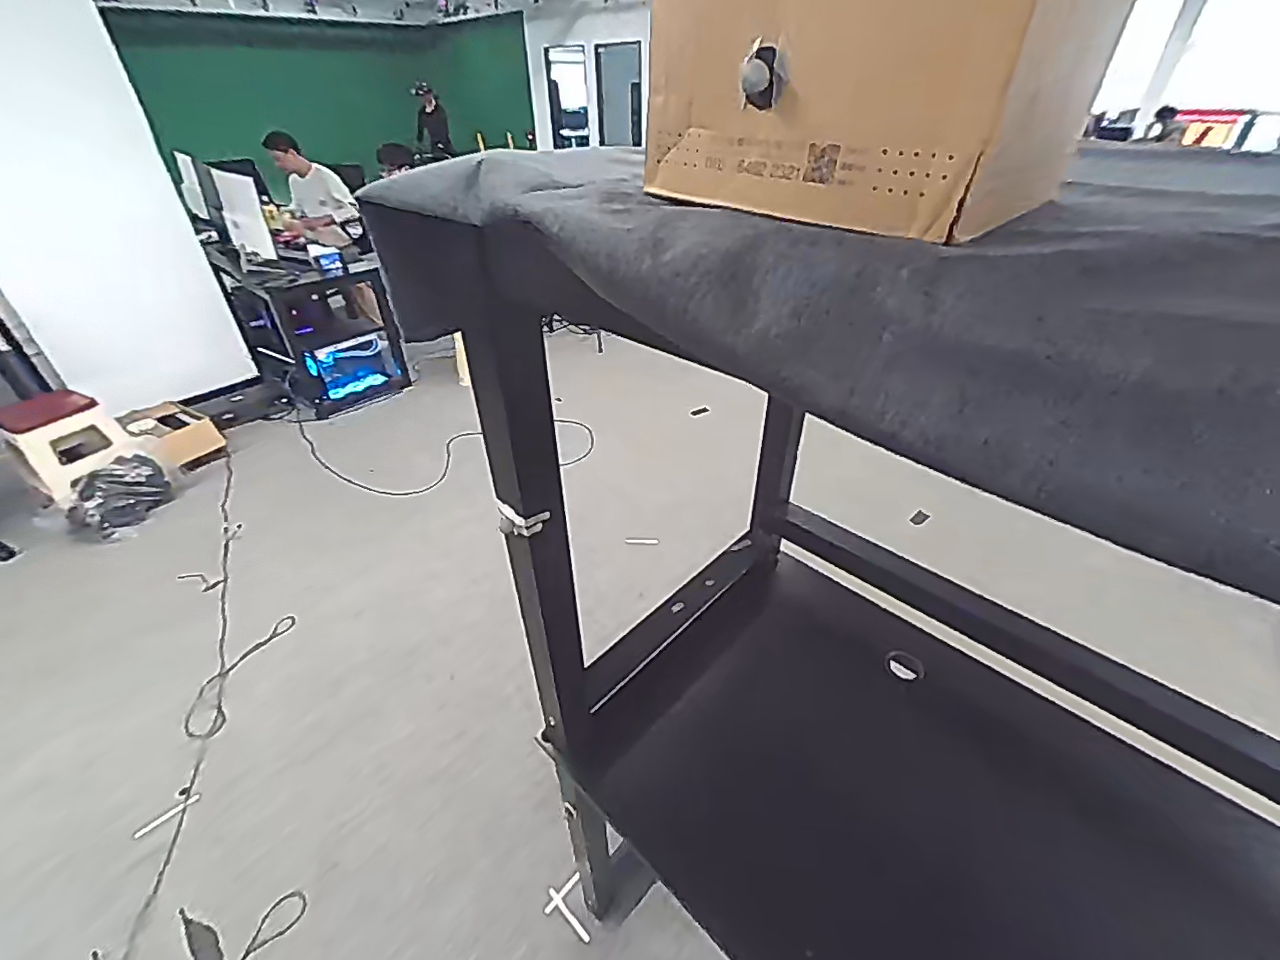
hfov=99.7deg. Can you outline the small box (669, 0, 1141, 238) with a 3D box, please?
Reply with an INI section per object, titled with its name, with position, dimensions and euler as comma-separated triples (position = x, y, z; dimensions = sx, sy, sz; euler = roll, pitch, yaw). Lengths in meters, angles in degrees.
[small box]
position = 0.125, -0.227, 0.257
dimensions = 0.168, 0.176, 0.179
euler = 29, 44, 33
